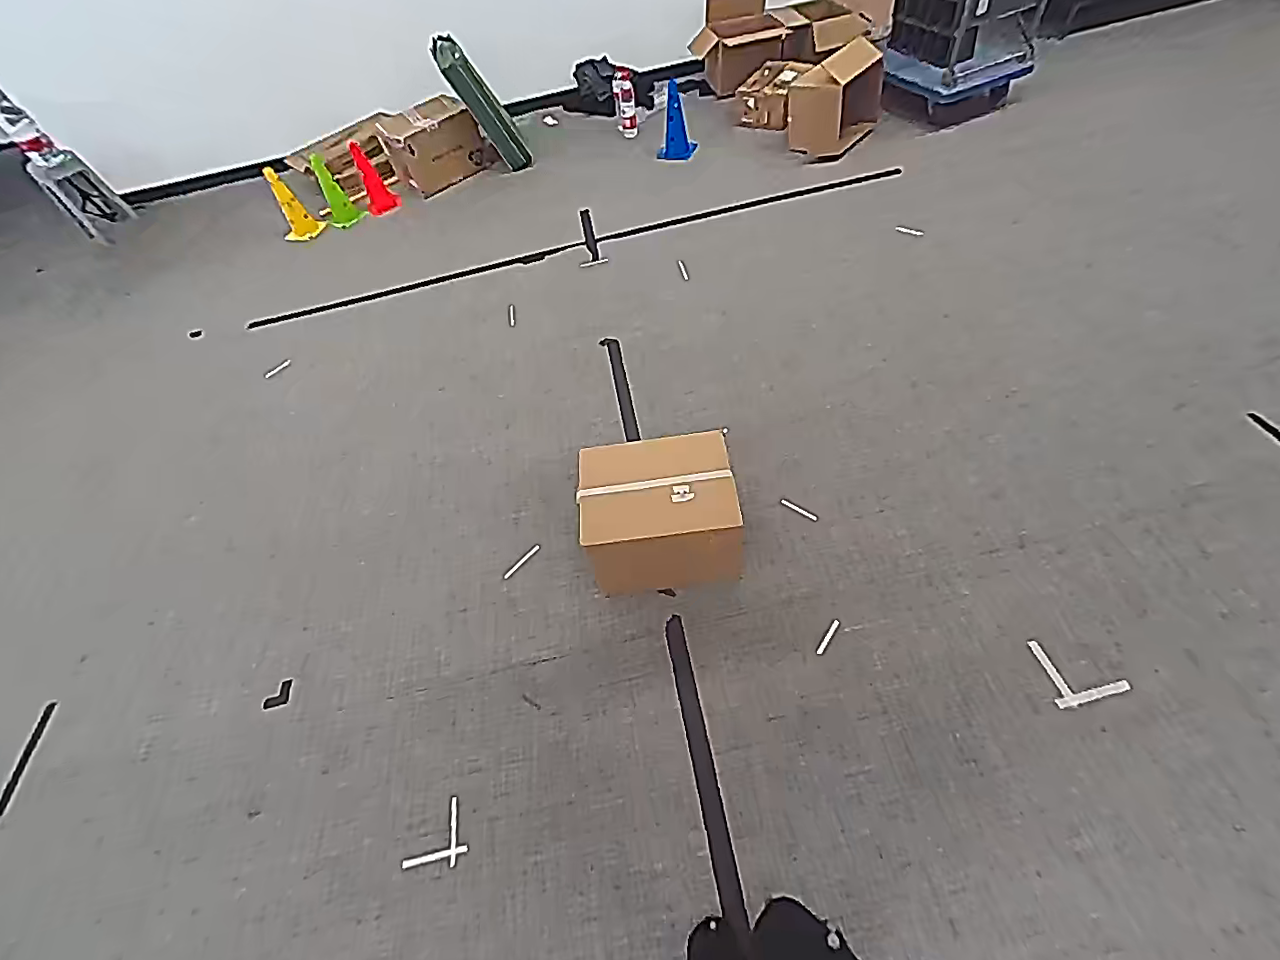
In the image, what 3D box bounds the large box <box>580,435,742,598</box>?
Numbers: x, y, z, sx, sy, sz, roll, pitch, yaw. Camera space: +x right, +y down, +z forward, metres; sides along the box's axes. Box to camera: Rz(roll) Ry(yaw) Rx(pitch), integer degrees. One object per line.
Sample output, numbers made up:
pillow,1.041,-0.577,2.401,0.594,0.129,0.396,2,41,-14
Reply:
large box,0.057,0.110,1.523,0.408,0.320,0.320,-7,54,3
